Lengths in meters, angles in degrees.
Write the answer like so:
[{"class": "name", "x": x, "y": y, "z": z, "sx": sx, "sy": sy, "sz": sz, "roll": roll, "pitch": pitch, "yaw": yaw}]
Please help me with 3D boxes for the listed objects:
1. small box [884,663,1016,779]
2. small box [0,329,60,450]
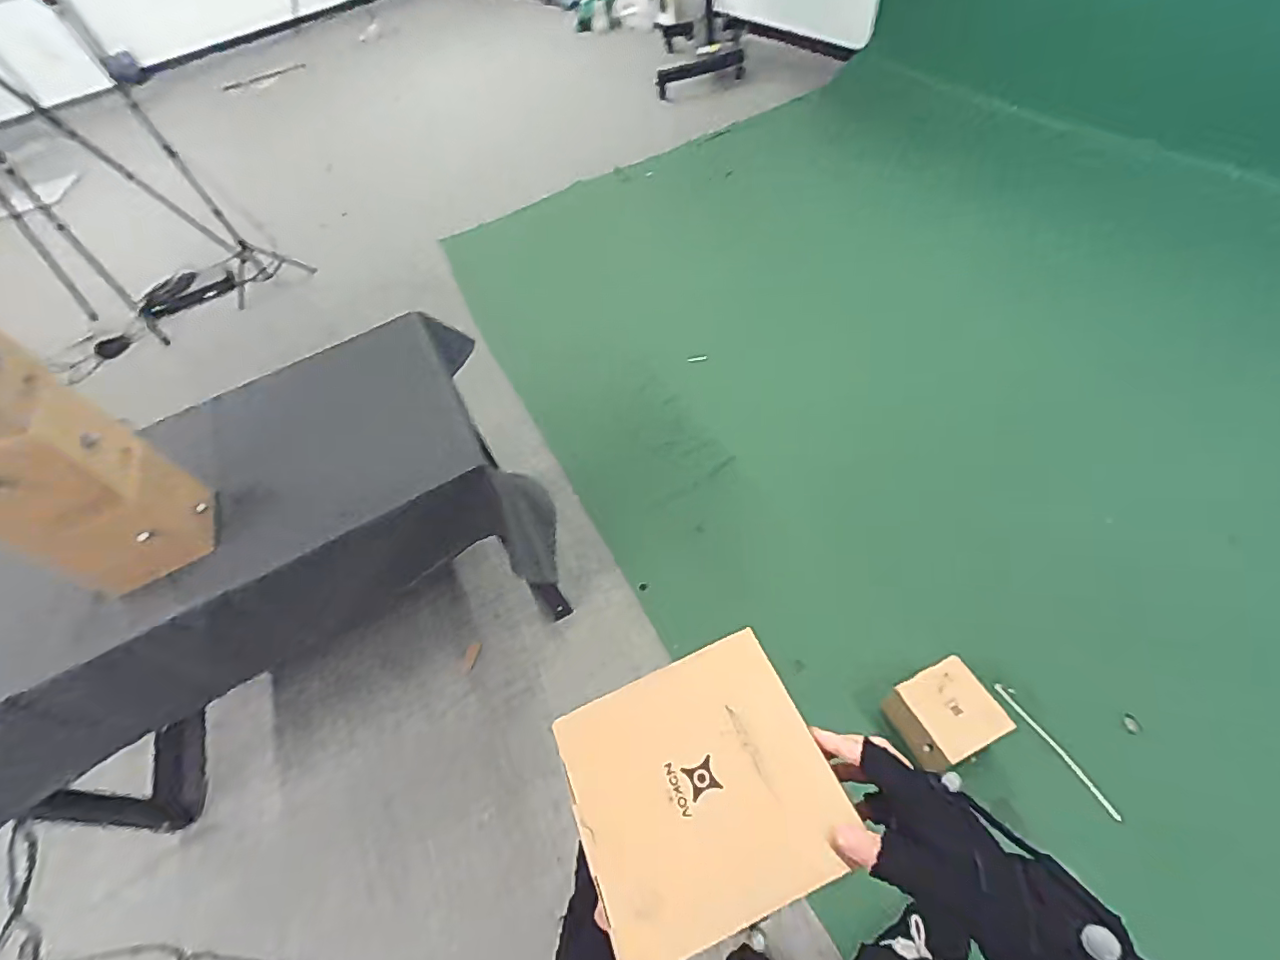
[{"class": "small box", "x": 0.687, "y": 0.550, "z": 1.221, "sx": 0.168, "sy": 0.176, "sz": 0.179, "roll": -24, "pitch": 52, "yaw": -8}, {"class": "small box", "x": -0.963, "y": -0.129, "z": 0.731, "sx": 0.179, "sy": 0.176, "sz": 0.168, "roll": -26, "pitch": 52, "yaw": -10}]
